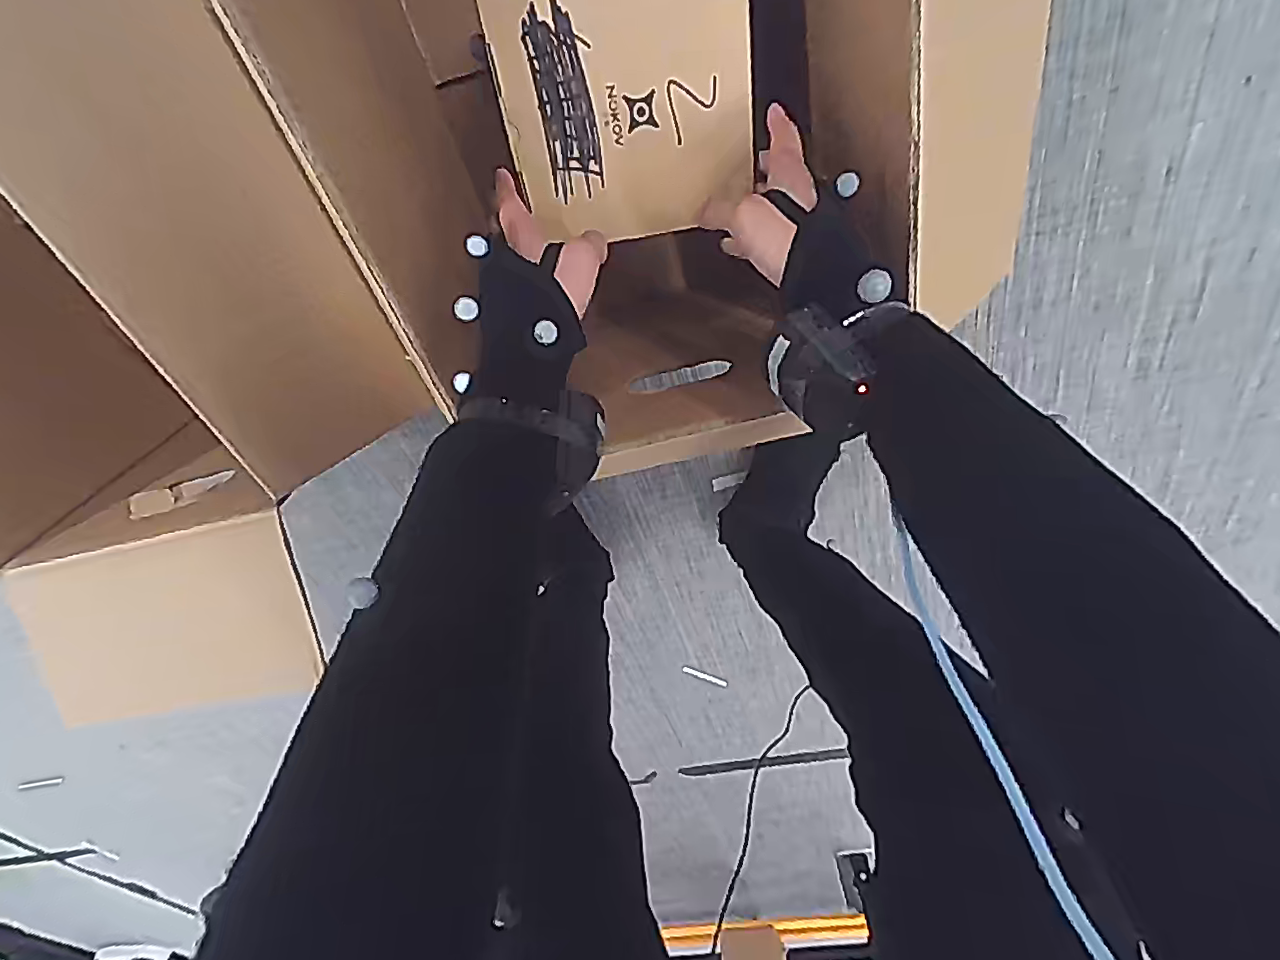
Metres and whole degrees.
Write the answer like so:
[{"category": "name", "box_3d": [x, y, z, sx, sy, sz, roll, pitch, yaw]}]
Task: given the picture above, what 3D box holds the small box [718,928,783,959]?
[{"category": "small box", "box_3d": [0.349, 1.510, 1.666, 0.179, 0.176, 0.168, -15, 125, 13]}]
